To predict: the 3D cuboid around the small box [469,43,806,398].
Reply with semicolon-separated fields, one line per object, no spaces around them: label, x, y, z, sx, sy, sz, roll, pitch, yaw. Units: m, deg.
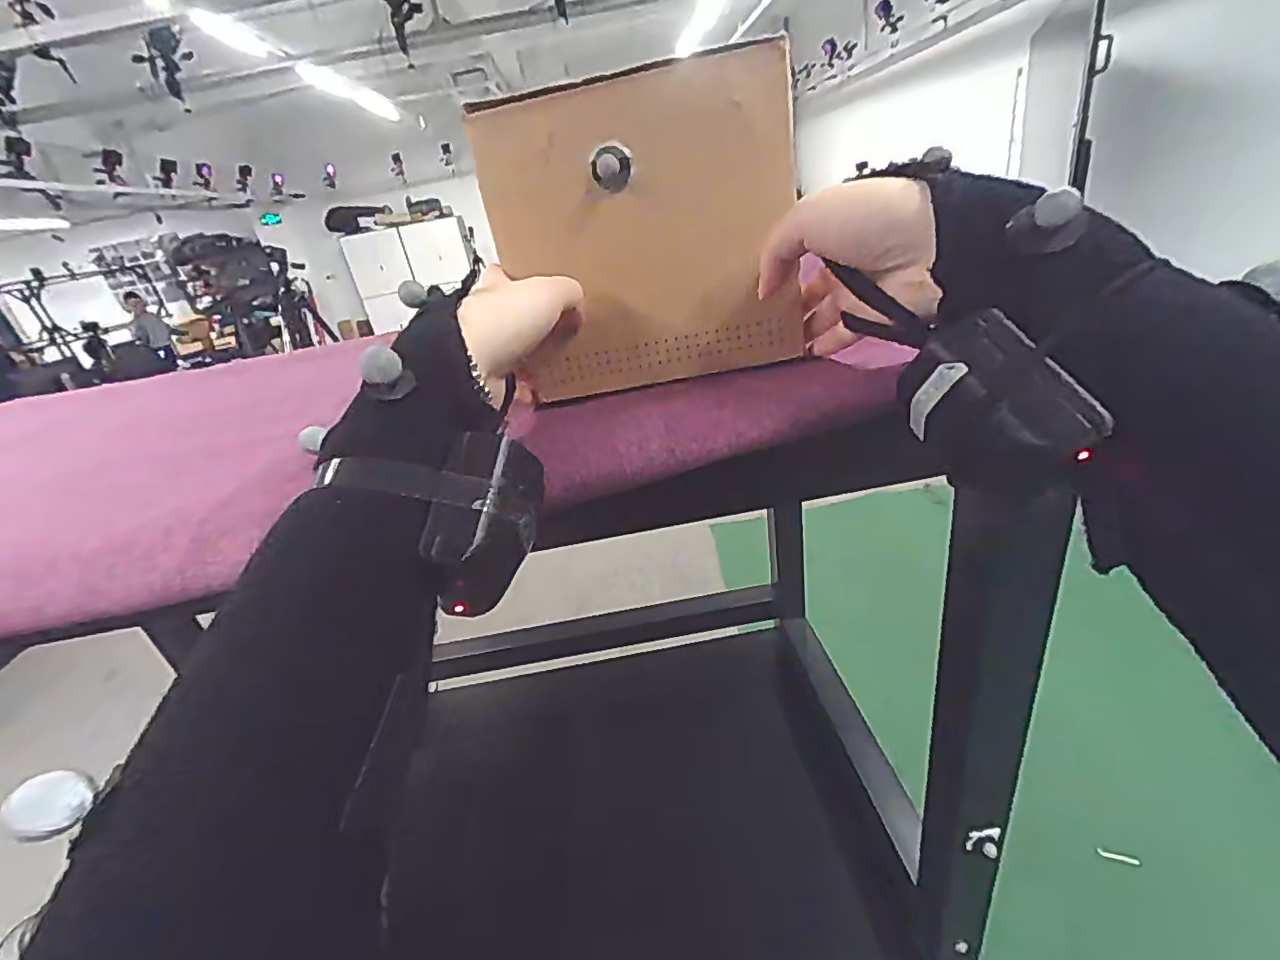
small box;0.009;-0.165;0.385;0.179;0.176;0.168;-8;25;6
